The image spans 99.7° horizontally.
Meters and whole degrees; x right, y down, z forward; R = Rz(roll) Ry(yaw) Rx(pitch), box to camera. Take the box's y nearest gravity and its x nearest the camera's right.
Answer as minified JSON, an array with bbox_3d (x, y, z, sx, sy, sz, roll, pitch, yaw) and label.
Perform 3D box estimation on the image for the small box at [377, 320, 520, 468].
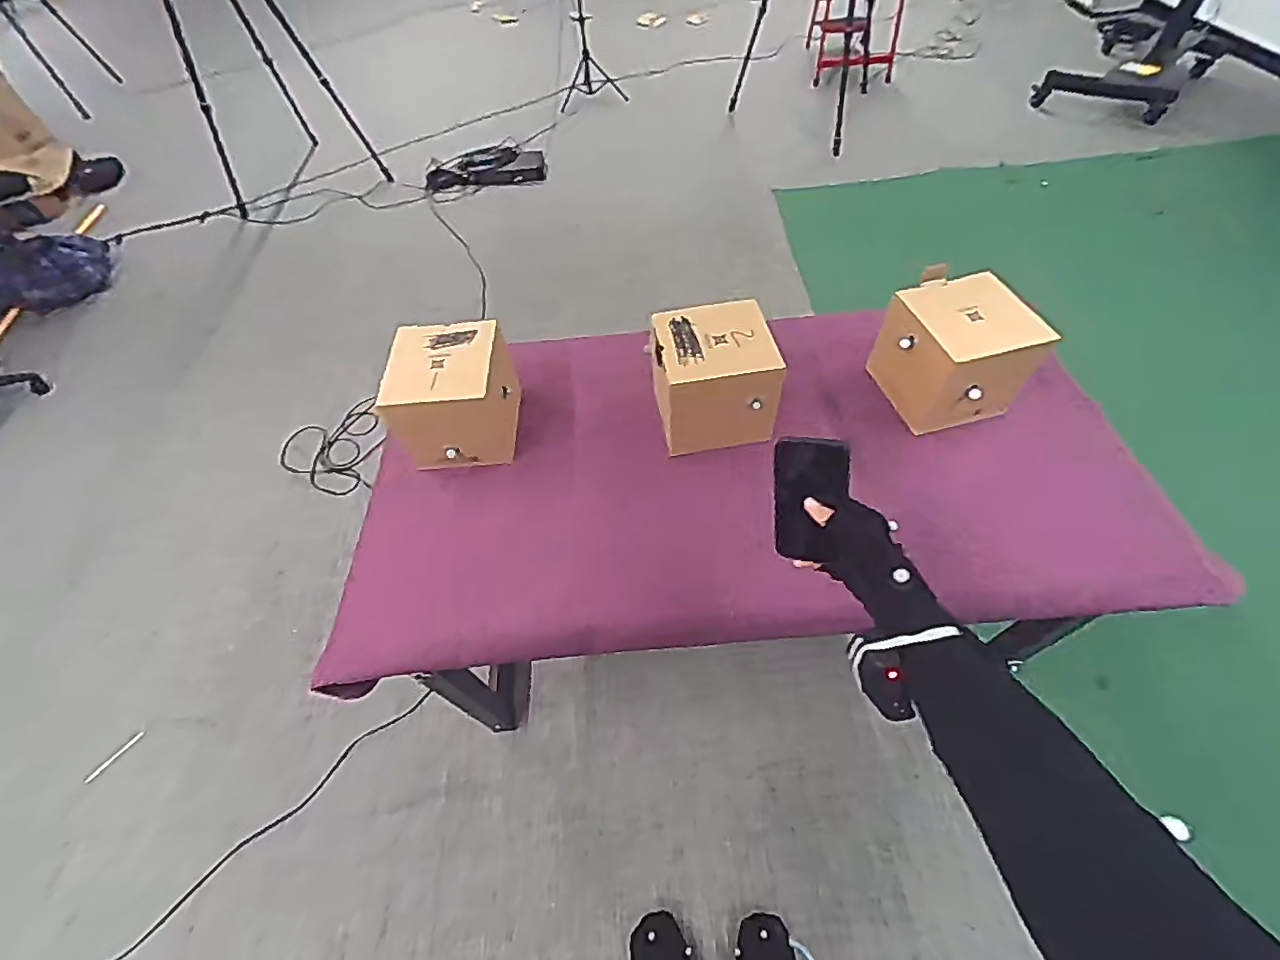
[{"bbox_3d":[-0.302,-0.140,0.900,0.168,0.176,0.179,-4,56,2],"label":"small box"}]

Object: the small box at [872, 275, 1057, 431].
[{"bbox_3d":[0.510,-0.198,0.882,0.168,0.176,0.179,-14,54,-4],"label":"small box"}]
